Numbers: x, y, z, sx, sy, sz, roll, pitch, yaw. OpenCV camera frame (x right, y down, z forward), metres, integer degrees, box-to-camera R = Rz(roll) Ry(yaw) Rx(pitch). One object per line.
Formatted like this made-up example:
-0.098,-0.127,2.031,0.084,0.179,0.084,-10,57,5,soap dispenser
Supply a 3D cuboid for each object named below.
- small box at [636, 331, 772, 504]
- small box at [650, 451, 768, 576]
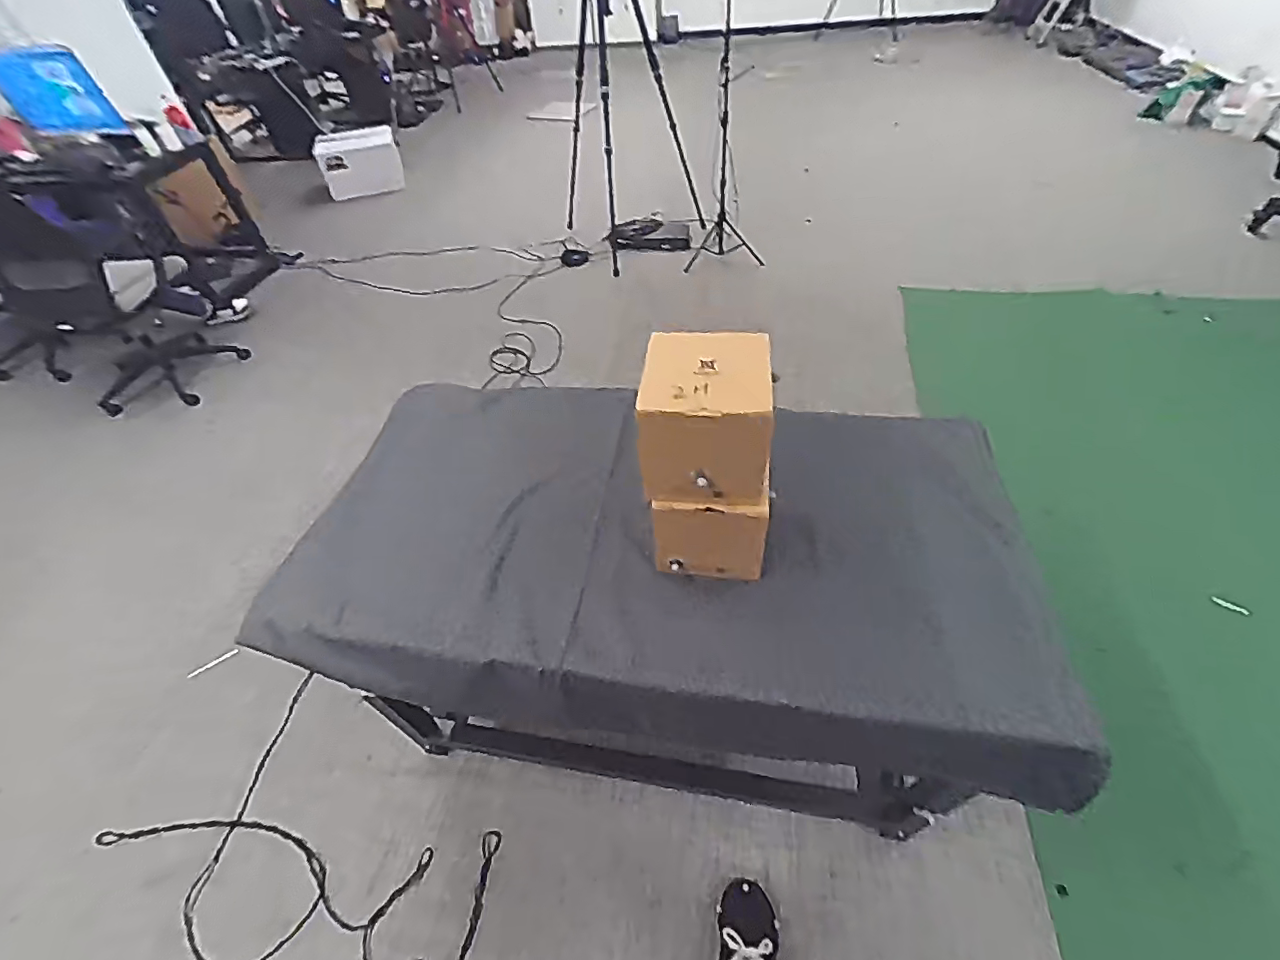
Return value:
0.092,-0.088,0.755,0.168,0.176,0.179,2,48,9,small box
0.115,0.035,0.863,0.168,0.176,0.179,4,47,9,small box
